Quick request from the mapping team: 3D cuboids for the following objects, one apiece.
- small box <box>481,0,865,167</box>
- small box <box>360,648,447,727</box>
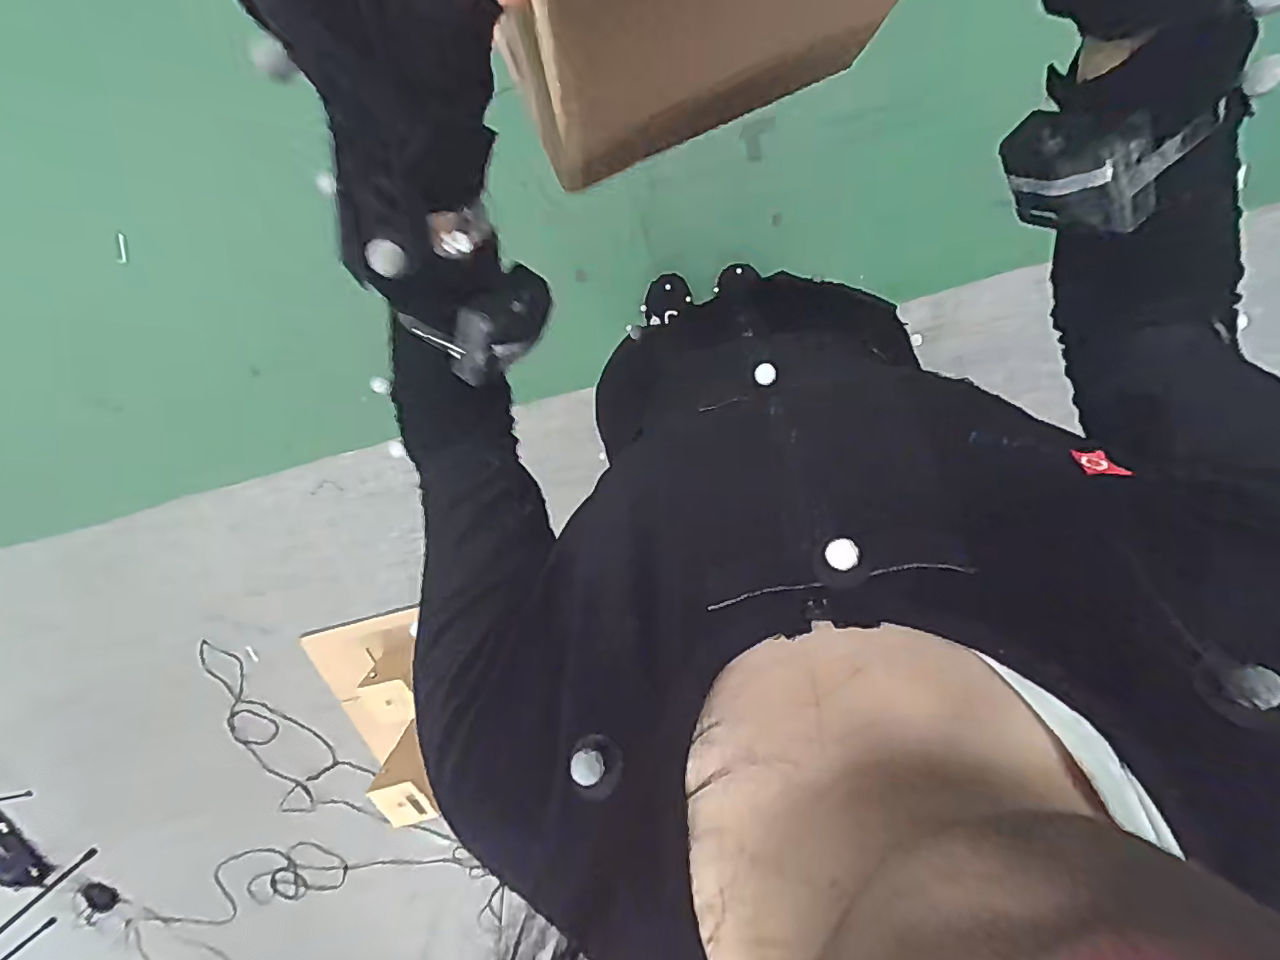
[{"bbox_3d":[0.006,-0.257,0.205,0.179,0.176,0.168,-23,101,-1],"label":"small box"},{"bbox_3d":[-0.788,0.695,1.817,0.179,0.176,0.168,-16,110,12],"label":"small box"}]
